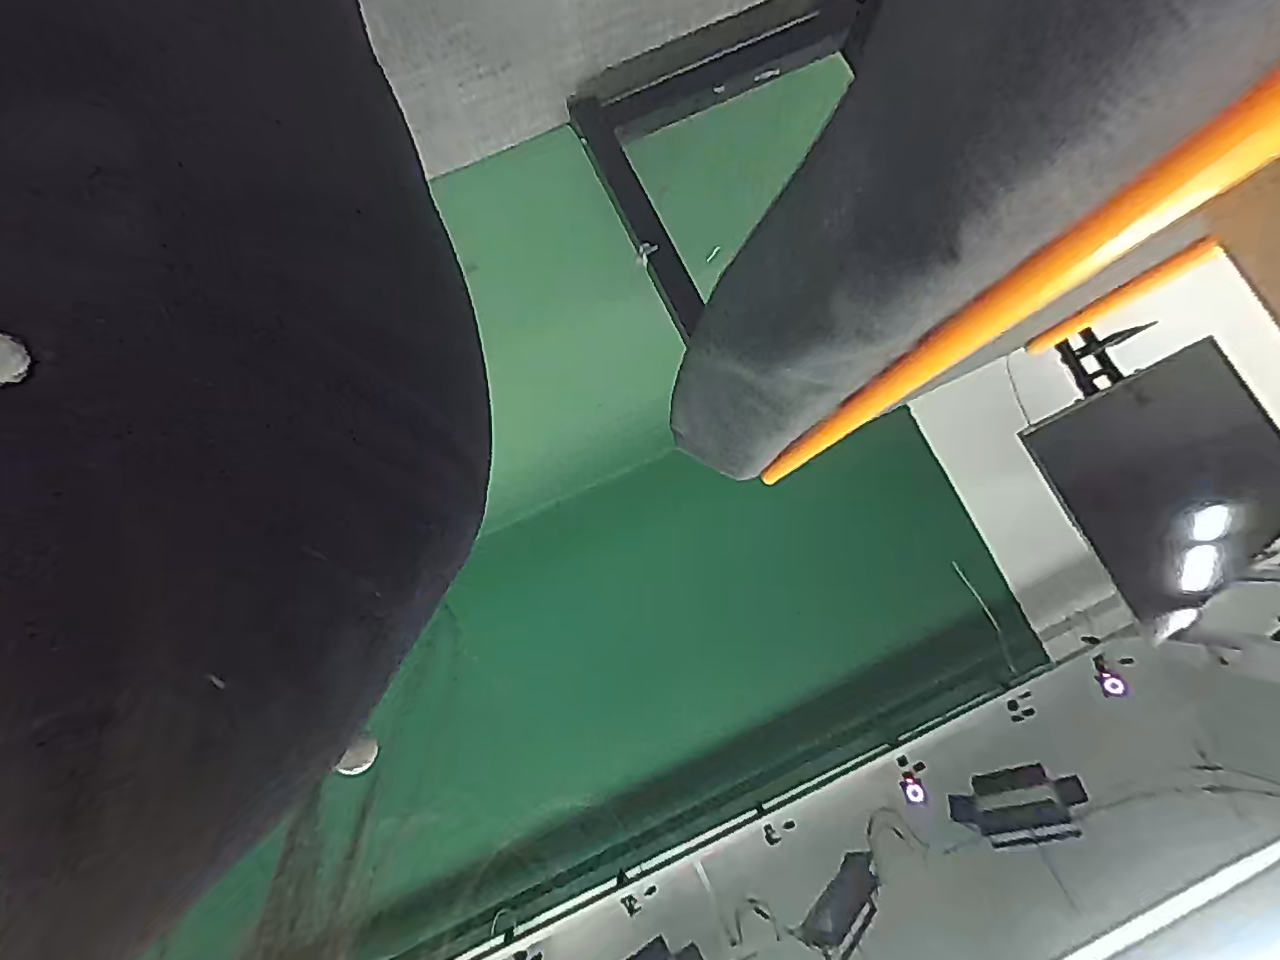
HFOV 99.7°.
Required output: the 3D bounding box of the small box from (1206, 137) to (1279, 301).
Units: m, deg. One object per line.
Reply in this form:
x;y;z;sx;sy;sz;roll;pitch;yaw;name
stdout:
0.479;-0.168;0.277;0.179;0.176;0.168;-26;170;-2;small box
